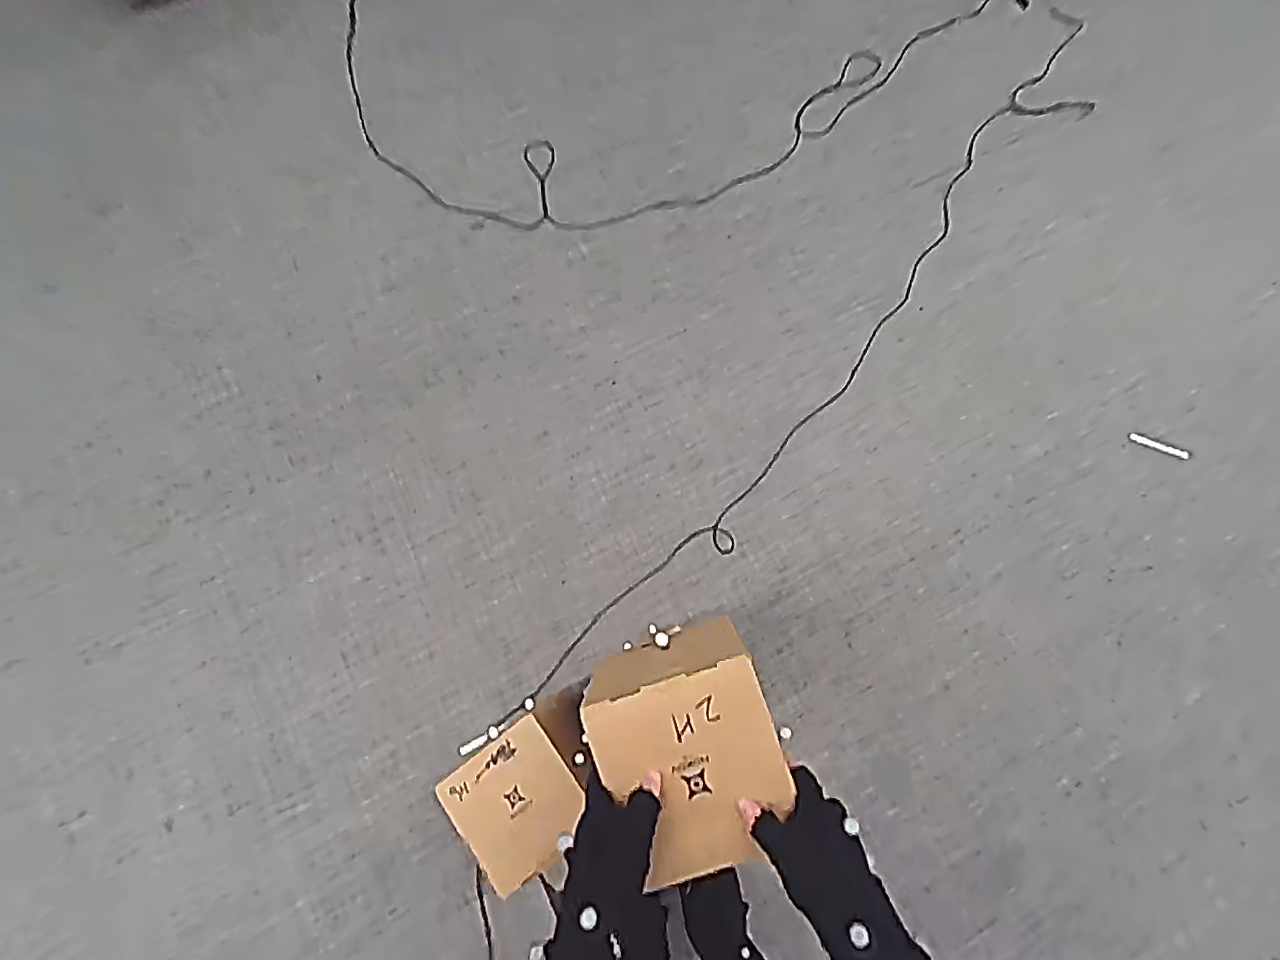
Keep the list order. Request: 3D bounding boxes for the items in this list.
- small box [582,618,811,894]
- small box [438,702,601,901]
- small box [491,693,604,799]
[{"bbox_3d":[0.055,0.266,0.562,0.168,0.176,0.179,-19,88,3],"label":"small box"},{"bbox_3d":[-0.170,0.470,0.827,0.168,0.176,0.179,-36,80,-10],"label":"small box"},{"bbox_3d":[-0.172,0.515,0.985,0.168,0.176,0.179,-32,78,-9],"label":"small box"}]
